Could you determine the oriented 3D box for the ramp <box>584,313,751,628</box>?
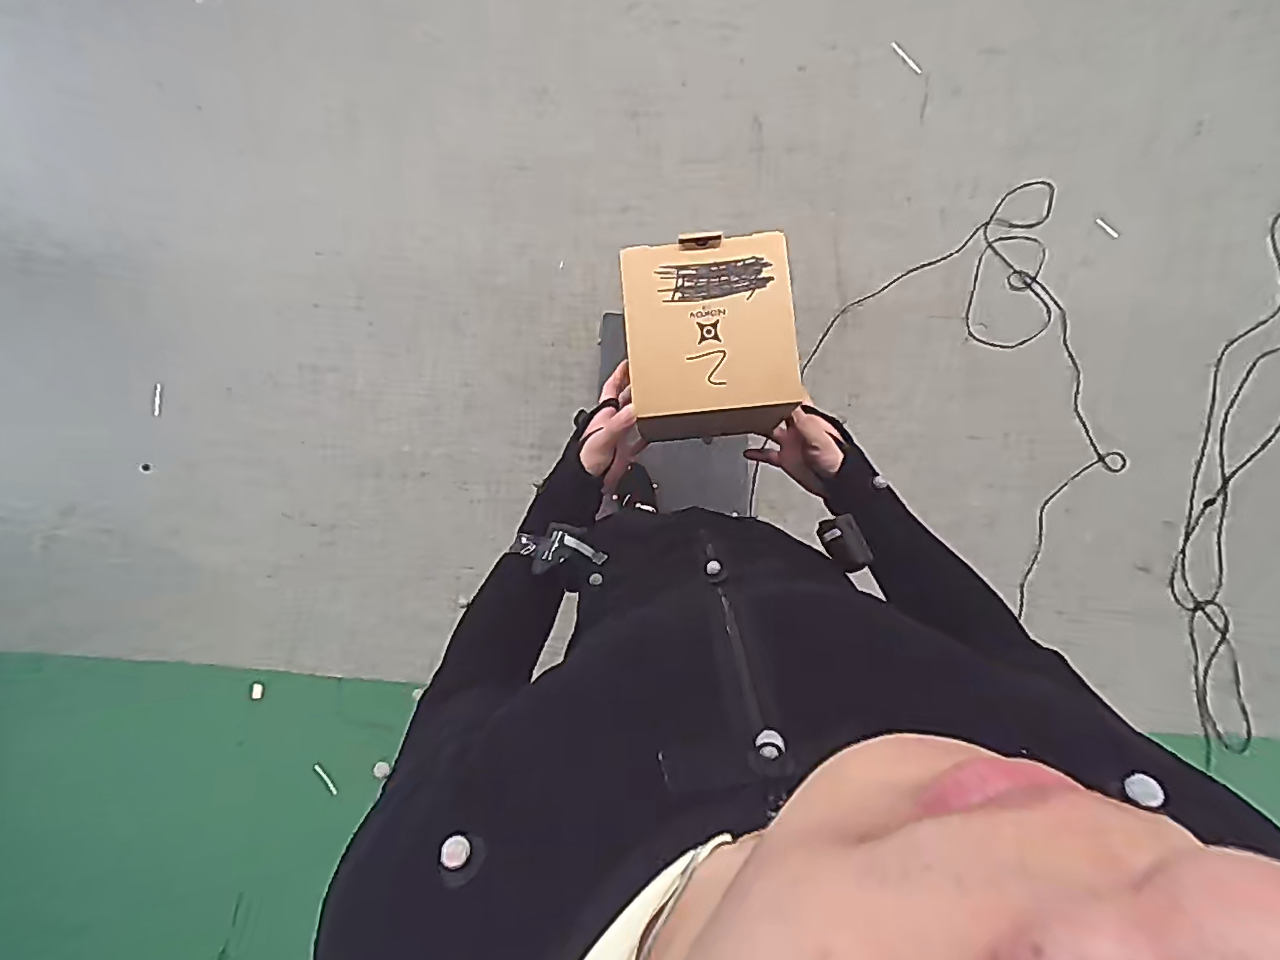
[{"bbox_3d":[0.100,-0.060,1.697,0.509,0.206,0.991,1,88,2],"label":"ramp"}]
